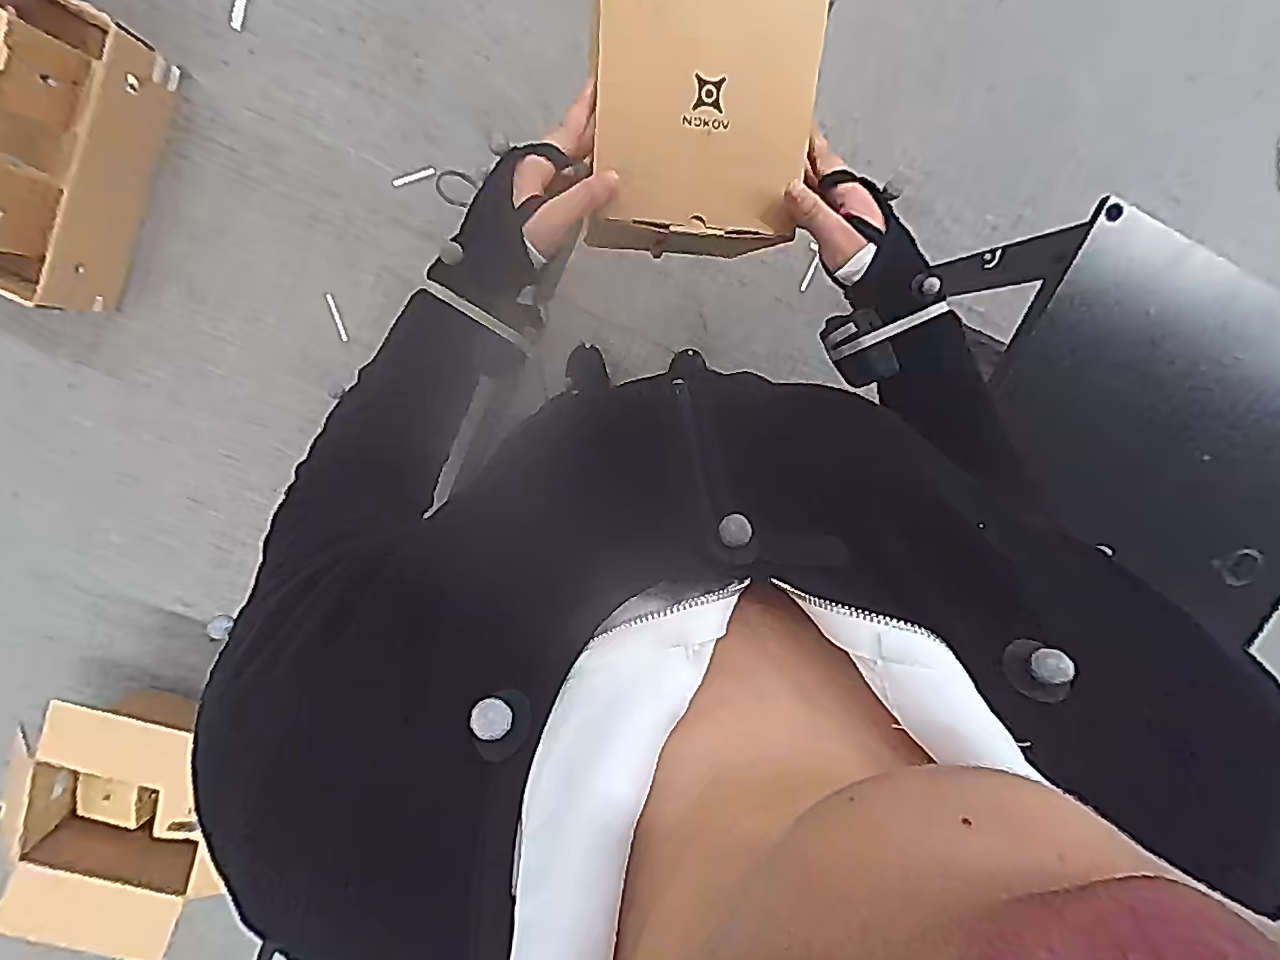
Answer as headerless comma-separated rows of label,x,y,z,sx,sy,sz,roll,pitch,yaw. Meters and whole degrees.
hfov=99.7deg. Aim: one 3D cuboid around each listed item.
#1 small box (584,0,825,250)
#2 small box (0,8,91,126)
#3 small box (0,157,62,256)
small box,0.038,-0.308,0.471,0.168,0.176,0.179,1,109,-8
small box,-1.312,-0.873,1.117,0.179,0.176,0.168,27,100,-10
small box,-1.427,-0.612,1.168,0.168,0.176,0.179,24,98,-10
